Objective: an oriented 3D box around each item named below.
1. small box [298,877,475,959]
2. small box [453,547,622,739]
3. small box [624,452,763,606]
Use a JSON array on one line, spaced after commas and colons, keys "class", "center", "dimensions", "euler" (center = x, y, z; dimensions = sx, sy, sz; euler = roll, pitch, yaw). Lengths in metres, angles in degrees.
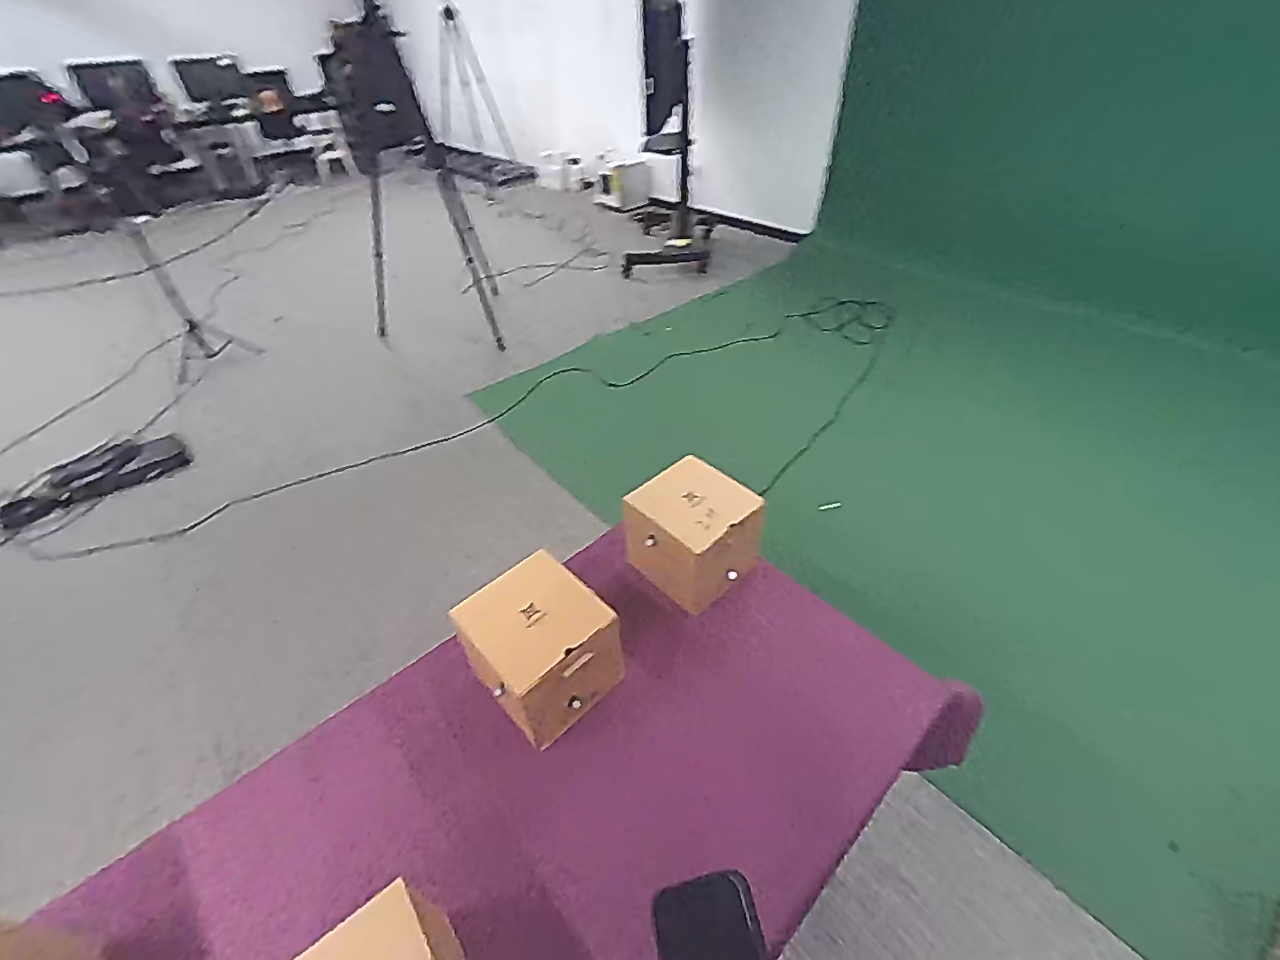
[{"class": "small box", "center": [-0.232, 0.522, 0.494], "dimensions": [0.168, 0.176, 0.179], "euler": [-29, 47, -27]}, {"class": "small box", "center": [-0.144, 0.240, 0.801], "dimensions": [0.168, 0.176, 0.179], "euler": [-35, 51, -30]}, {"class": "small box", "center": [0.090, 0.085, 0.951], "dimensions": [0.168, 0.176, 0.179], "euler": [-34, 50, -28]}]
